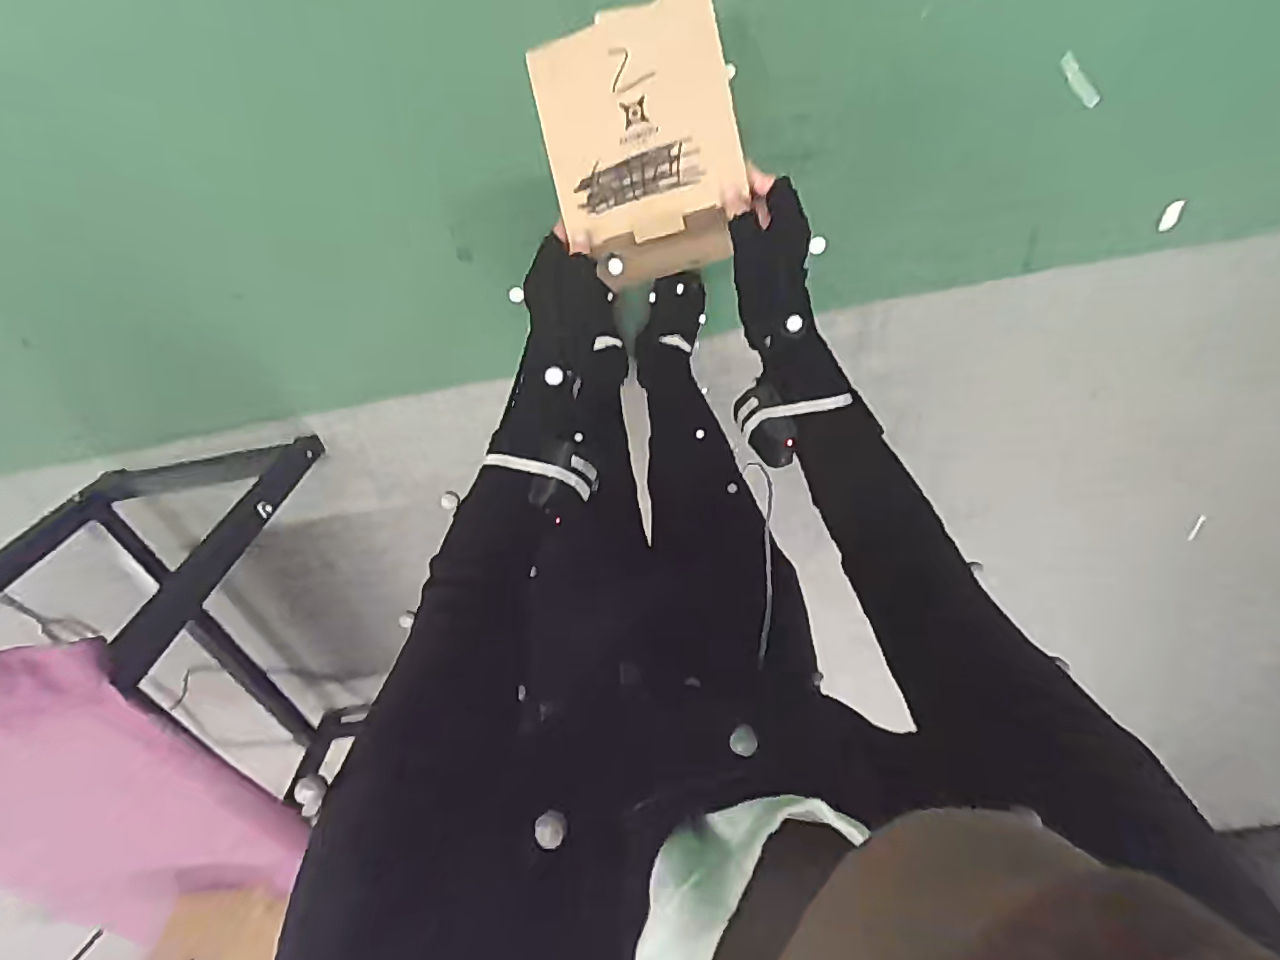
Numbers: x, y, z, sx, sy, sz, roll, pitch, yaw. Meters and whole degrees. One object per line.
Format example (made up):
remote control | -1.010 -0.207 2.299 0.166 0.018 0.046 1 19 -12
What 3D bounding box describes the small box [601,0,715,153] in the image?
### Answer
small box | 0.027 -0.655 0.891 0.168 0.176 0.179 -7 125 3
